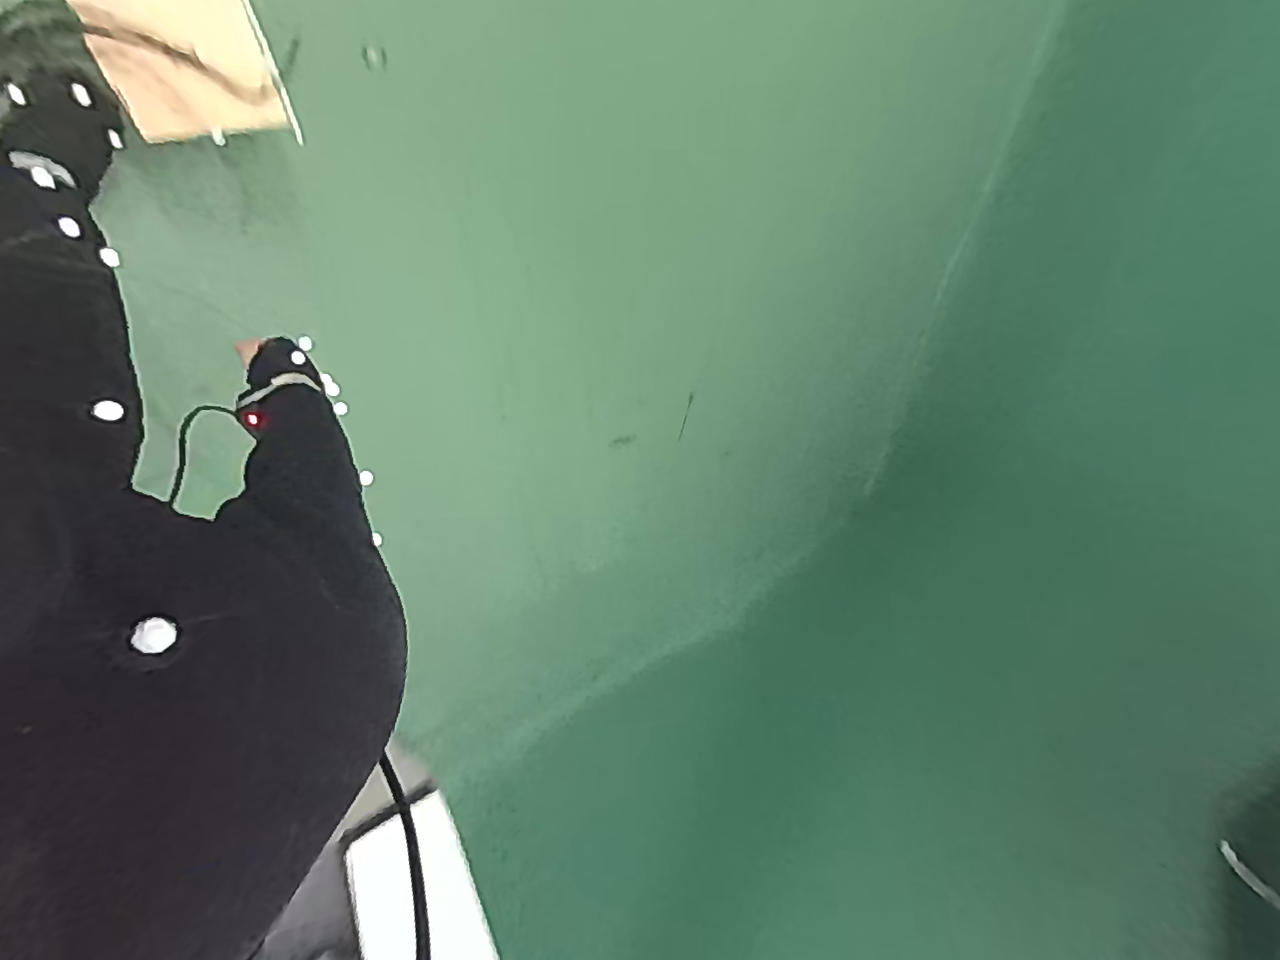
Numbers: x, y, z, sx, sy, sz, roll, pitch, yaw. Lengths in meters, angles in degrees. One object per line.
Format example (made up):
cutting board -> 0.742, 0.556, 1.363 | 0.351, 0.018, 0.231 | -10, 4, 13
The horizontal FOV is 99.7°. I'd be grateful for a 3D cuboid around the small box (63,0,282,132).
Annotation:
small box -> -0.615, -0.581, 0.716 | 0.179, 0.176, 0.168 | -23, 139, -23
